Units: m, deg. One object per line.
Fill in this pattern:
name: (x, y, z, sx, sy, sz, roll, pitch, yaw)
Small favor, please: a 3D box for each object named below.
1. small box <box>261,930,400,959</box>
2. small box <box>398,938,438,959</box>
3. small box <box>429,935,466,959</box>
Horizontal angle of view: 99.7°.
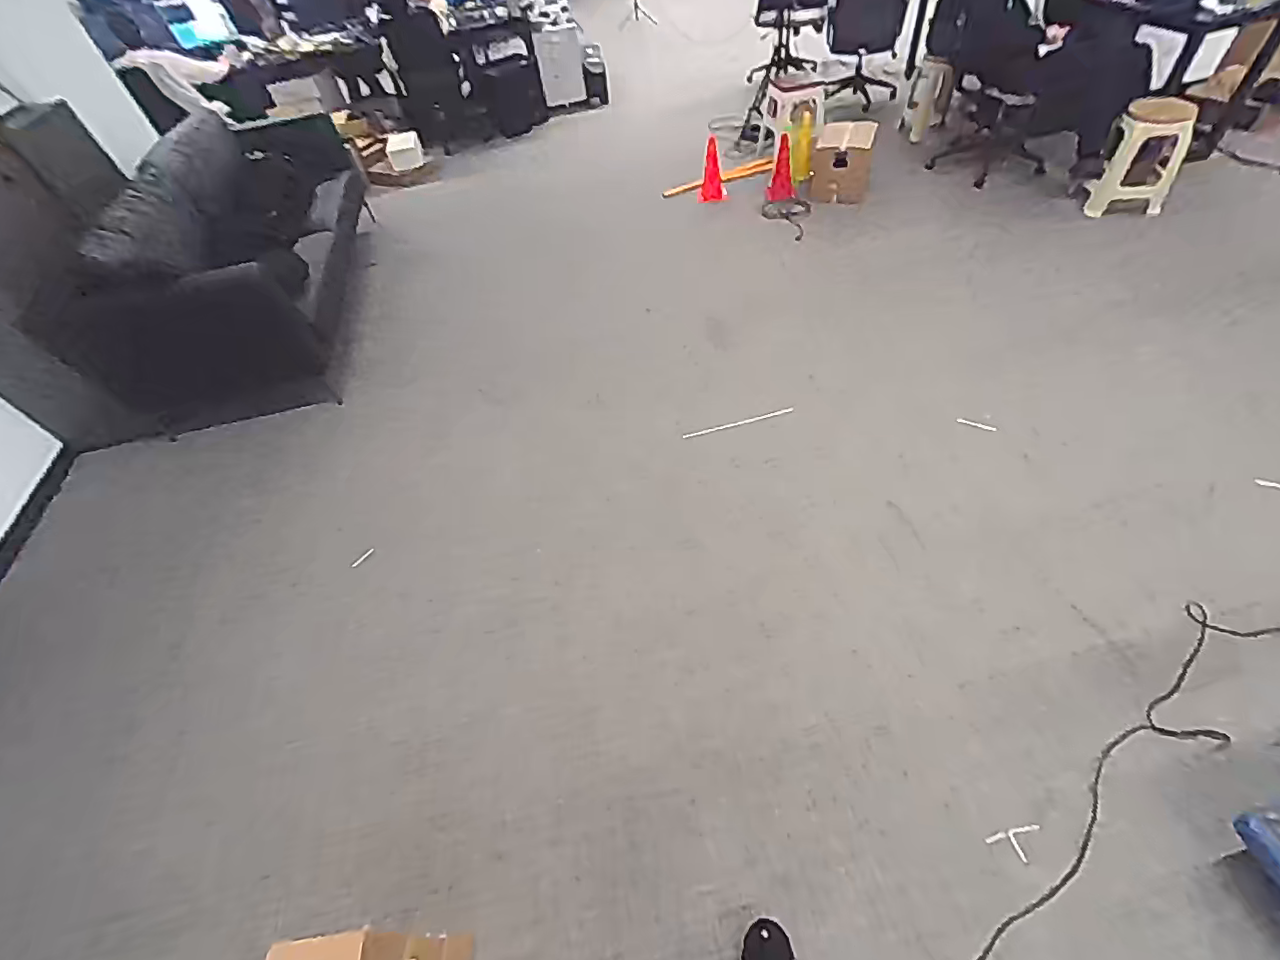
small box: (-0.530, 0.880, 0.911, 0.168, 0.176, 0.179, -8, 49, 1)
small box: (-0.512, 0.990, 1.030, 0.179, 0.176, 0.168, -8, 50, 1)
small box: (-0.484, 1.094, 1.155, 0.179, 0.176, 0.168, -11, 49, -2)
